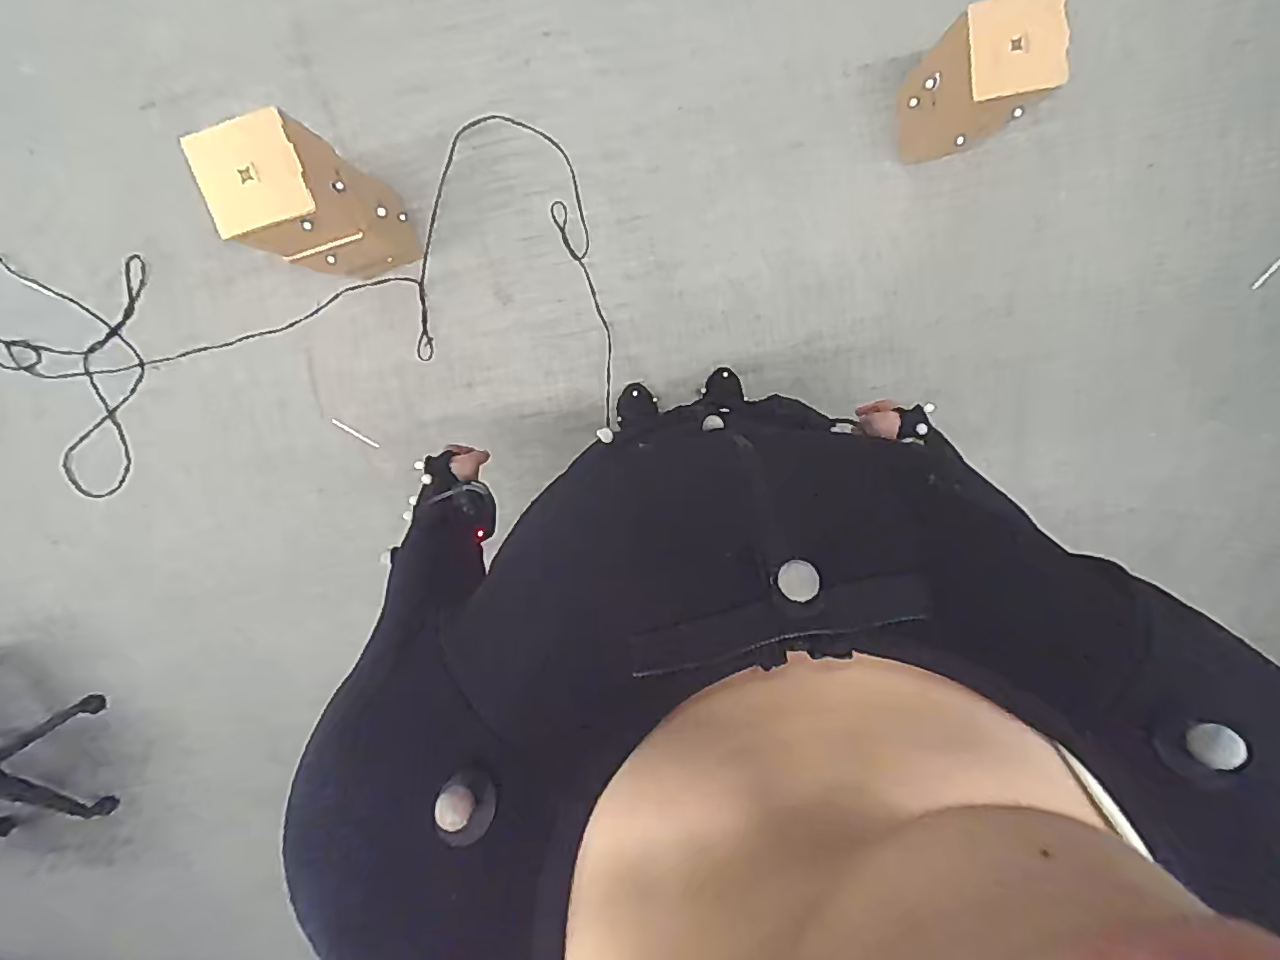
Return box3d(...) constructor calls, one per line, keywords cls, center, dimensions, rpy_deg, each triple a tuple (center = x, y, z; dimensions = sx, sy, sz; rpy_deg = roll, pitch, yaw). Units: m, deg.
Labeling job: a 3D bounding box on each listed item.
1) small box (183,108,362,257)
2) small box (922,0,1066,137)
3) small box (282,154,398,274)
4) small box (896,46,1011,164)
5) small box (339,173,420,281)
box3d(cls="small box", center=(-0.650, -0.522, 0.979), dimensions=(0.179, 0.176, 0.168), rpy_deg=(-17, 101, 3))
box3d(cls="small box", center=(0.690, -0.813, 1.067), dimensions=(0.179, 0.176, 0.168), rpy_deg=(-11, 100, 4))
box3d(cls="small box", center=(-0.651, -0.548, 1.140), dimensions=(0.179, 0.176, 0.168), rpy_deg=(-16, 101, 3))
box3d(cls="small box", center=(0.701, -0.853, 1.224), dimensions=(0.168, 0.176, 0.179), rpy_deg=(-11, 101, 3))
box3d(cls="small box", center=(-0.656, -0.597, 1.297), dimensions=(0.179, 0.176, 0.168), rpy_deg=(-19, 100, 5))
